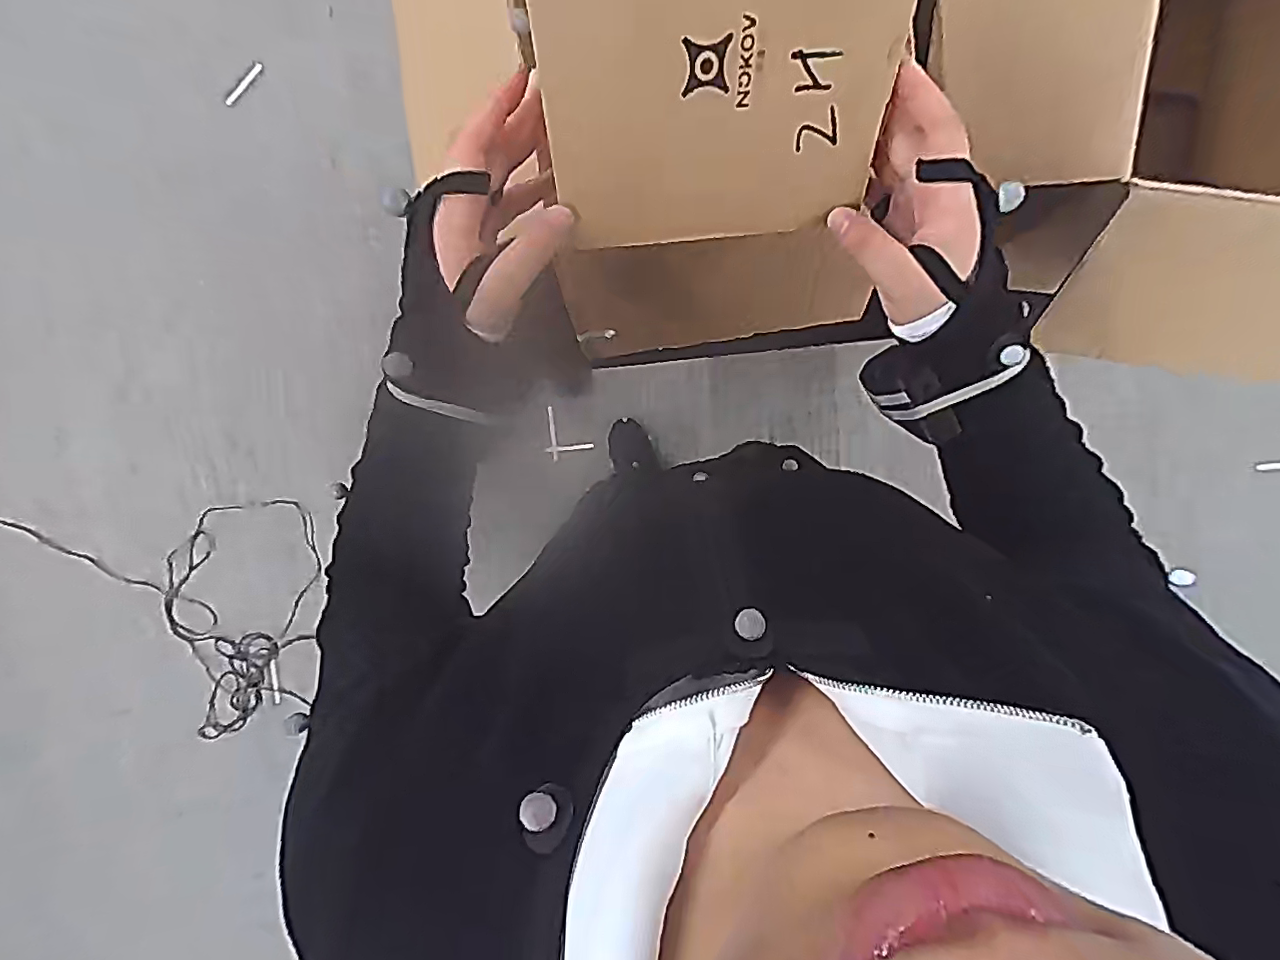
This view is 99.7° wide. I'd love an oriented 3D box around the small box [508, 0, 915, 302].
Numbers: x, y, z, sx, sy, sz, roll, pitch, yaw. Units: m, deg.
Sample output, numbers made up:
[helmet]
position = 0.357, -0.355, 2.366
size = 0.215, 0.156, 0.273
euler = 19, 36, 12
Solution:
[small box]
position = 0.027, -0.229, 0.322
size = 0.179, 0.168, 0.176
euler = -5, 52, -2
